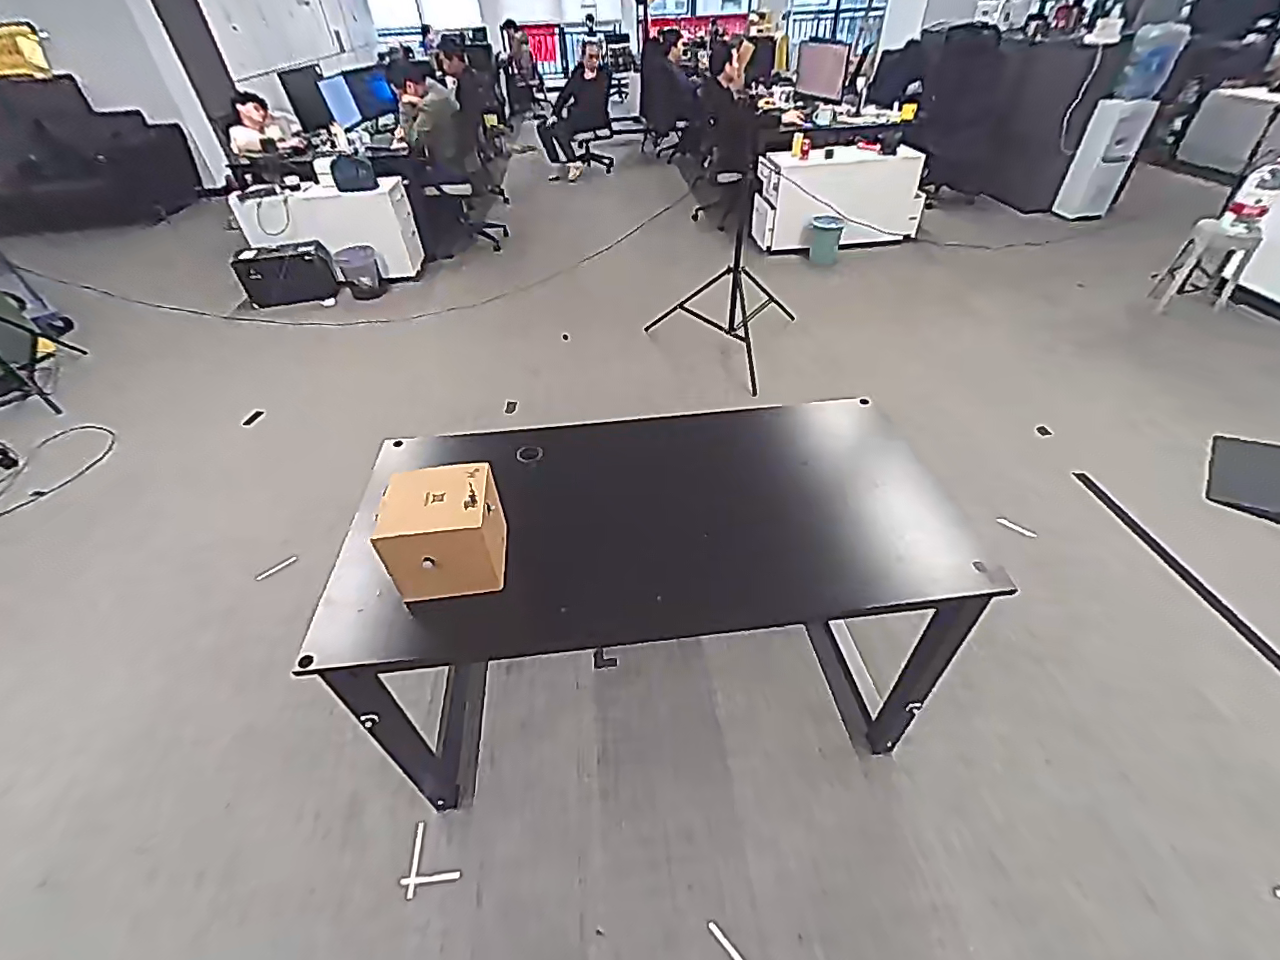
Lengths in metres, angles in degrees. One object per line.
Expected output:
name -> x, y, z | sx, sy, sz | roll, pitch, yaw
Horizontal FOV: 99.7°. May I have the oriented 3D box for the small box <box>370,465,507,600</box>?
small box -> -0.347, 0.097, 0.967 | 0.179, 0.176, 0.168 | -7, 42, -4
